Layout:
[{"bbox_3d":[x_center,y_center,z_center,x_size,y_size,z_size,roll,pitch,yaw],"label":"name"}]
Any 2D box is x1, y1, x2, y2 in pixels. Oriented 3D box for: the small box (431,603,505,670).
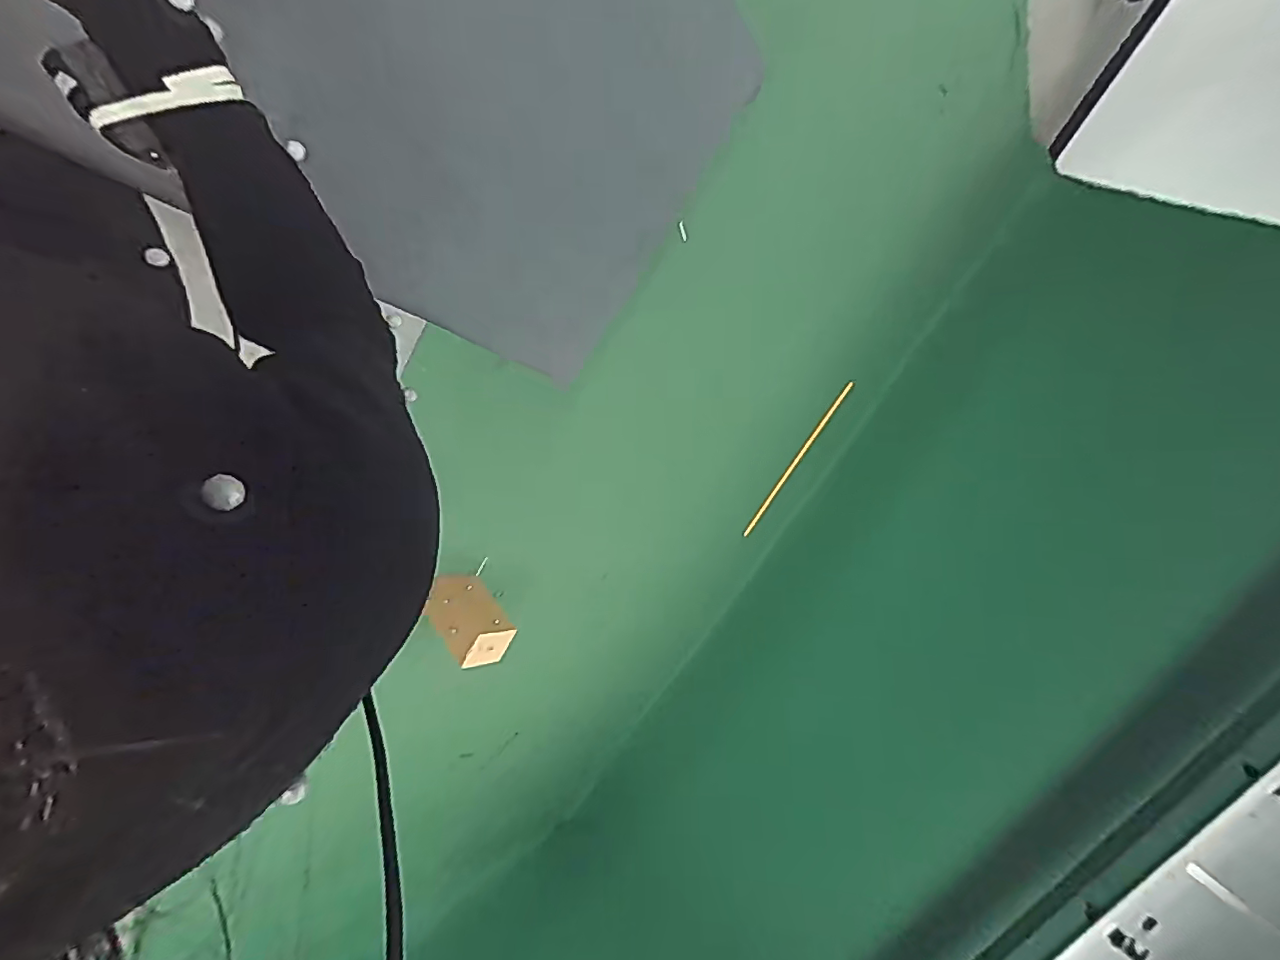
[{"bbox_3d":[-0.650,0.583,2.041,0.179,0.176,0.168,11,114,-53],"label":"small box"}]
